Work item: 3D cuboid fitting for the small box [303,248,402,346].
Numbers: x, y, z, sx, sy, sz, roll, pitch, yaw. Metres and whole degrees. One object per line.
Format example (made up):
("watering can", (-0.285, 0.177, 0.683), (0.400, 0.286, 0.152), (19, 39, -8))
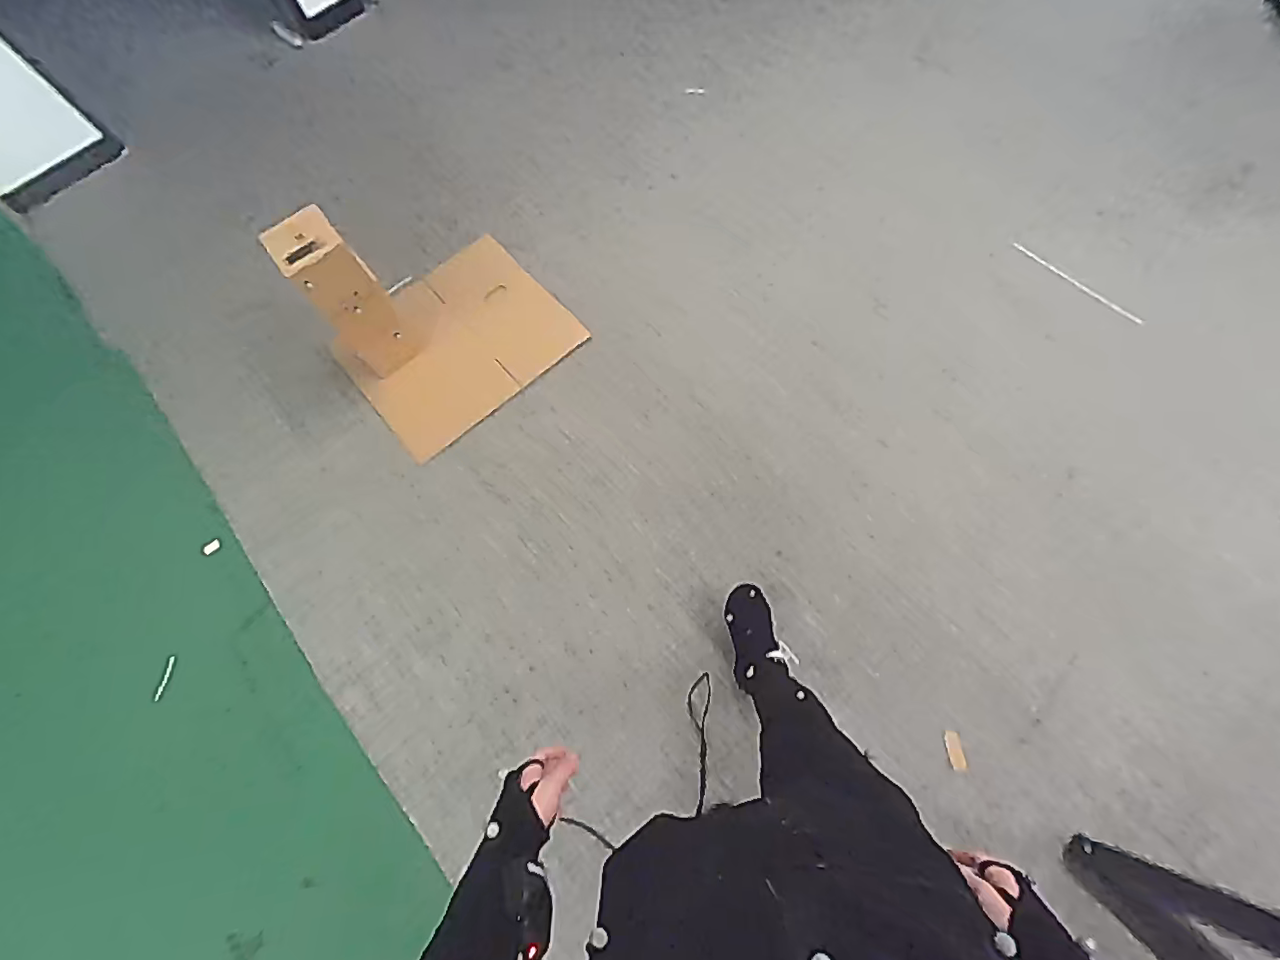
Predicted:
("small box", (-0.835, -0.536, 1.596), (0.179, 0.176, 0.168), (-39, 73, -9))

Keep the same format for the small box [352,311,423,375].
("small box", (-0.829, -0.477, 1.746), (0.179, 0.176, 0.168), (-39, 72, -10))
